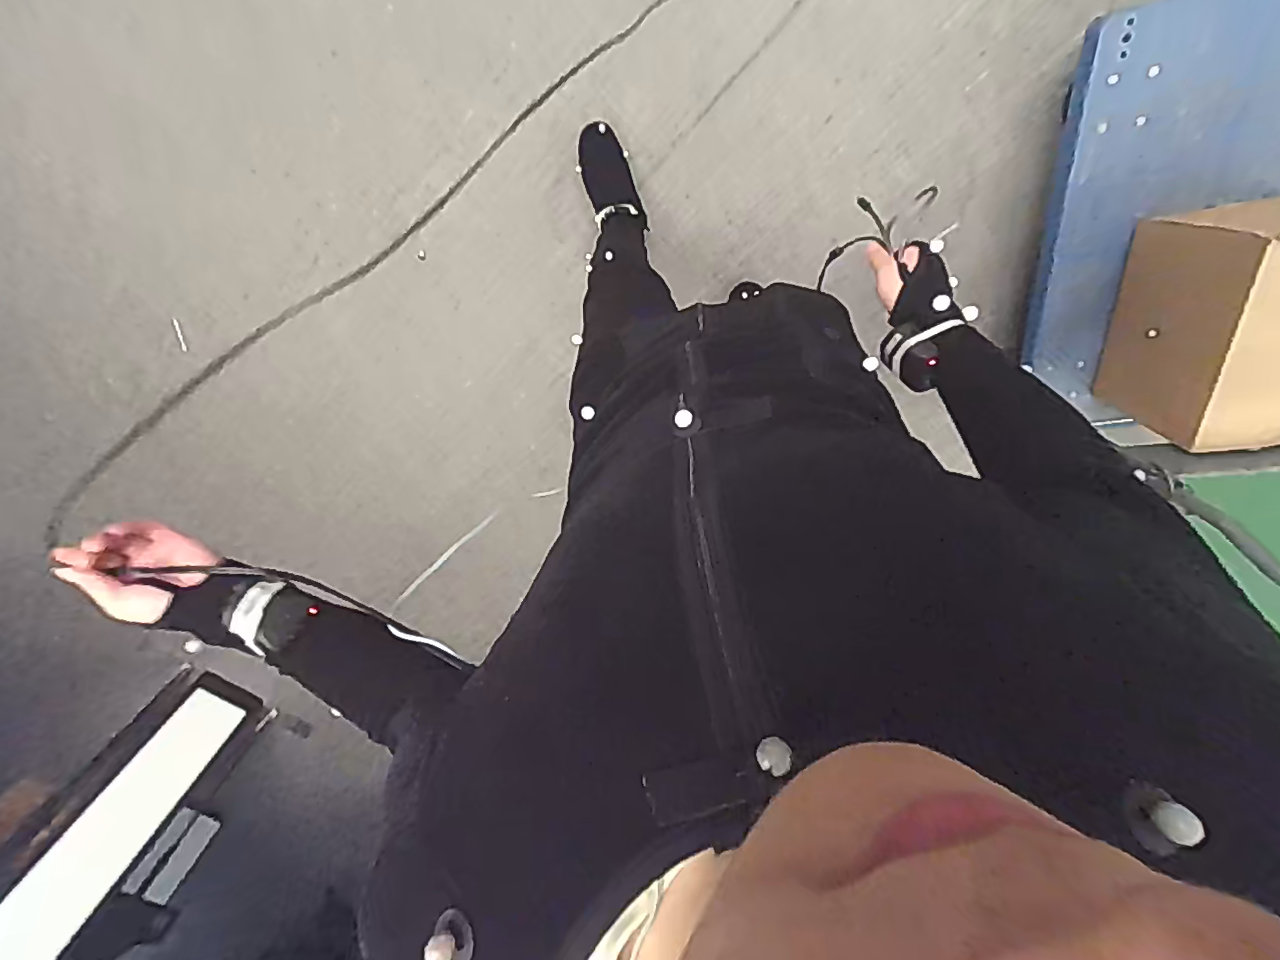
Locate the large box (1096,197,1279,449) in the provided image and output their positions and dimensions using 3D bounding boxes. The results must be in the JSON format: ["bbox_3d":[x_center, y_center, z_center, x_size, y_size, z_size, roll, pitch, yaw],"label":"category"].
[{"bbox_3d":[1.216,-0.320,1.085,0.320,0.320,0.408,-7,119,8],"label":"large box"}]
